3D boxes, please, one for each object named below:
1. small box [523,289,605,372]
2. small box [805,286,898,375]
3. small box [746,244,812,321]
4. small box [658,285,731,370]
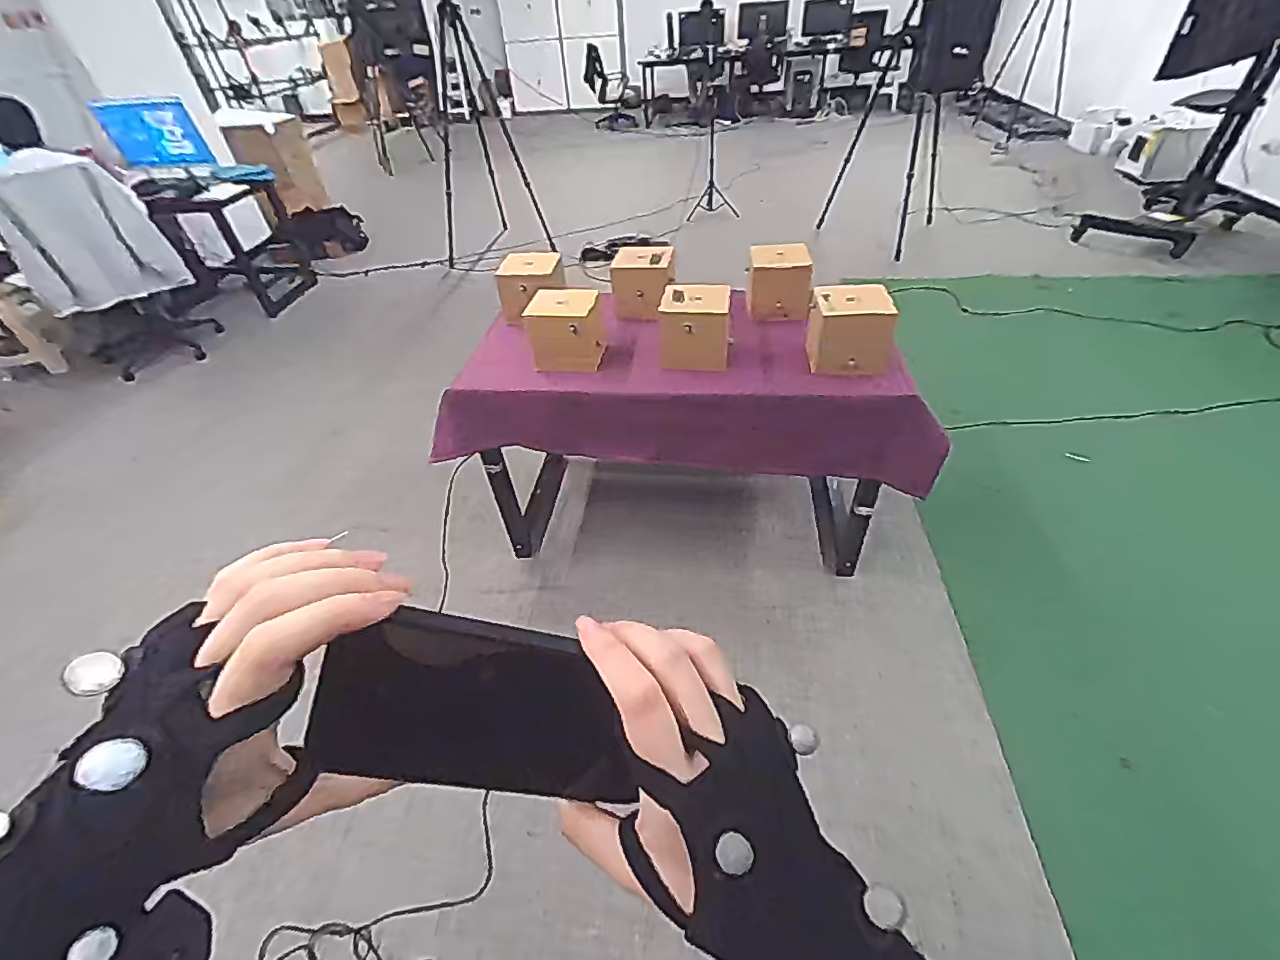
[{"bbox_3d":[-0.201,-0.412,1.493,0.179,0.176,0.168,4,43,8],"label":"small box"},{"bbox_3d":[0.532,-0.381,1.385,0.179,0.176,0.168,2,42,7],"label":"small box"},{"bbox_3d":[0.412,-0.595,1.629,0.168,0.176,0.179,0,43,6],"label":"small box"},{"bbox_3d":[0.149,-0.410,1.455,0.179,0.176,0.168,5,44,10],"label":"small box"}]
